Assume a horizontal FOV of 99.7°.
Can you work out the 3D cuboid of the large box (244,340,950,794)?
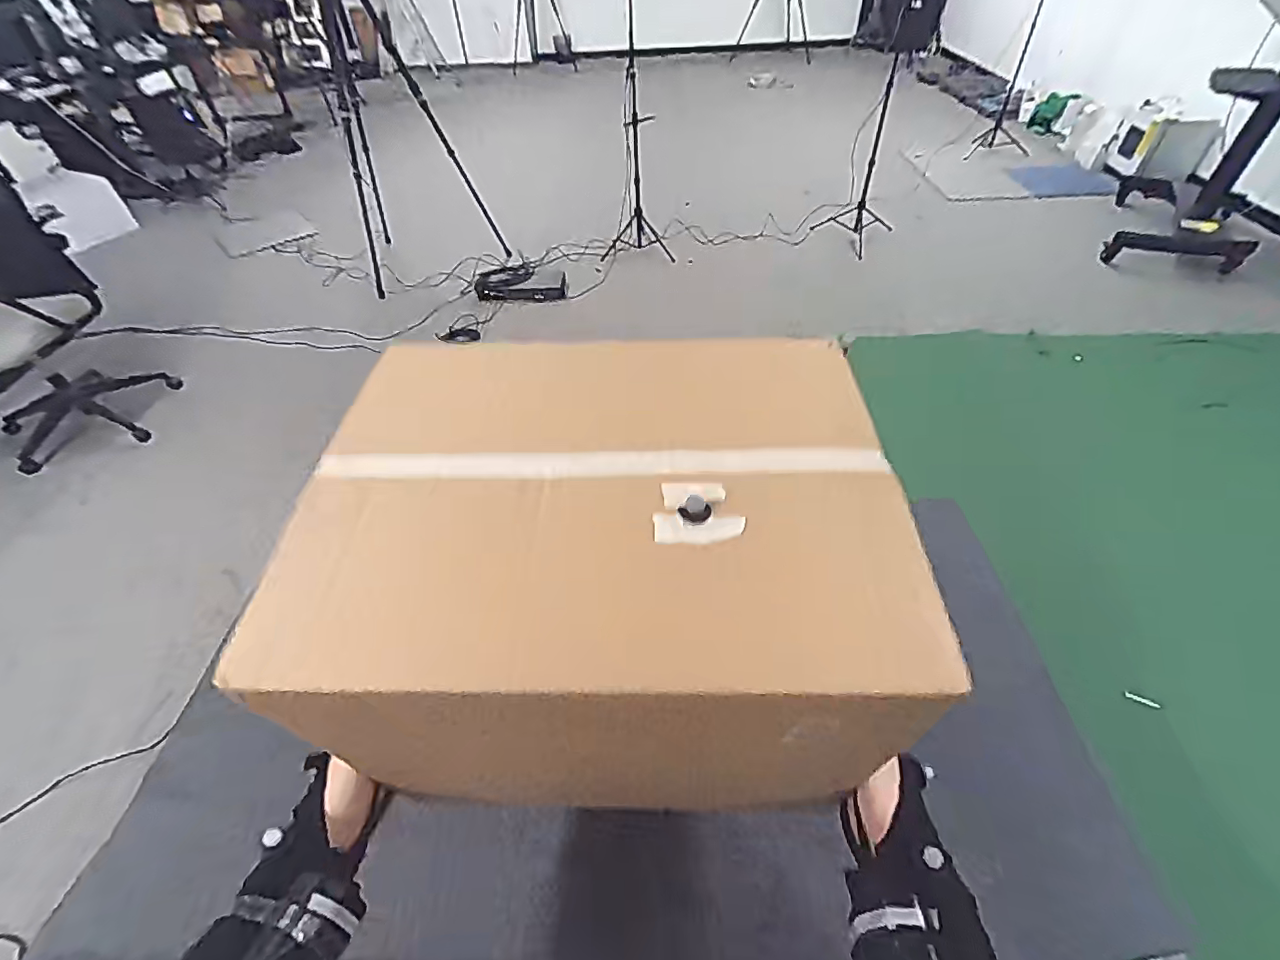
[{"bbox_3d":[-0.024,0.089,0.507,0.408,0.320,0.320,0,51,1],"label":"large box"}]
